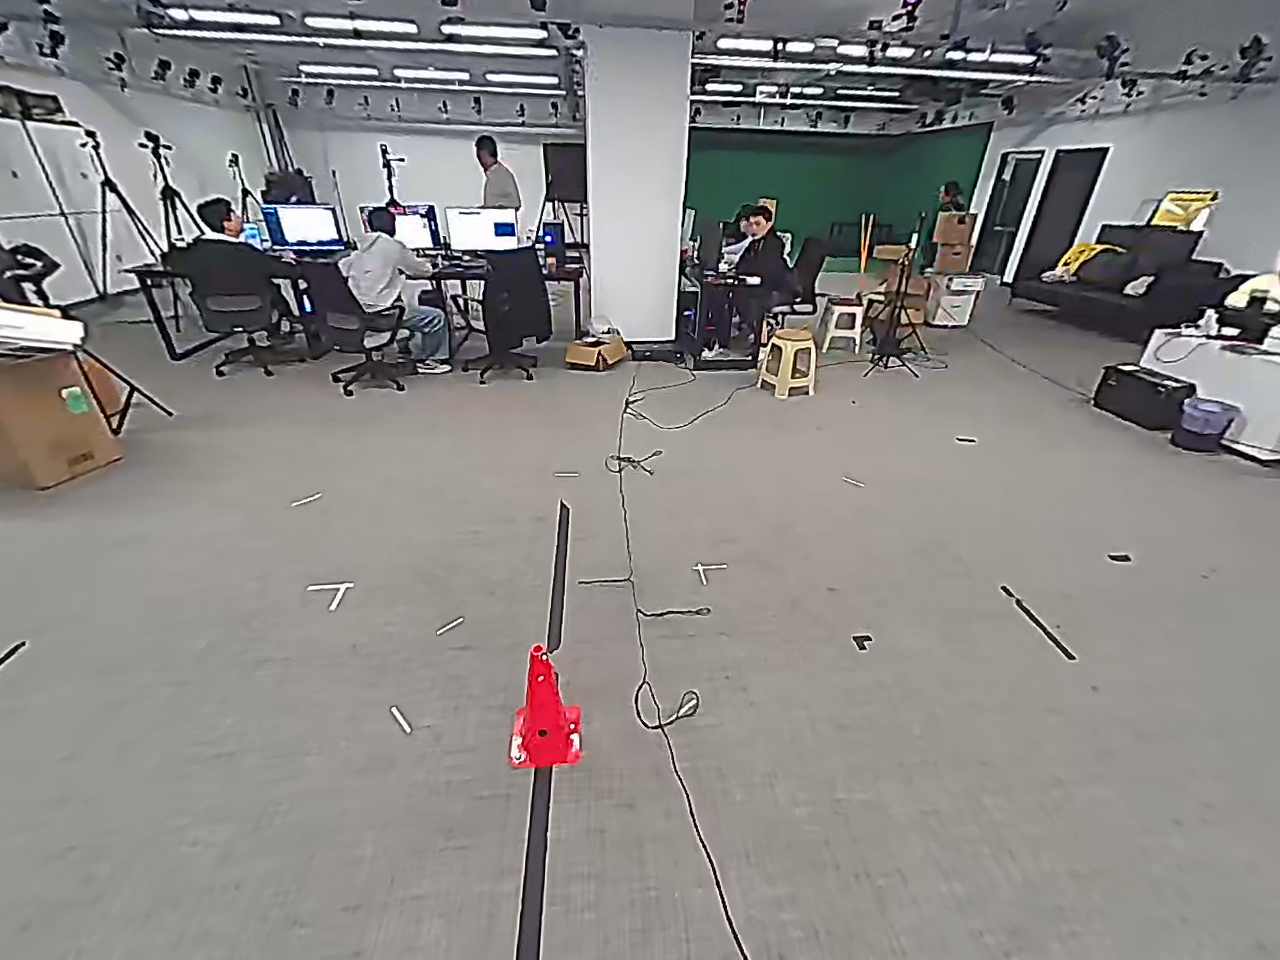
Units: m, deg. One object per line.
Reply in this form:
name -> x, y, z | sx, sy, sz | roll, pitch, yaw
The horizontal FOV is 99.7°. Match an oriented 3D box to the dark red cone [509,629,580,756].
dark red cone -> -0.273, 0.583, 1.522 | 0.201, 0.394, 0.202 | 0, 28, -6
